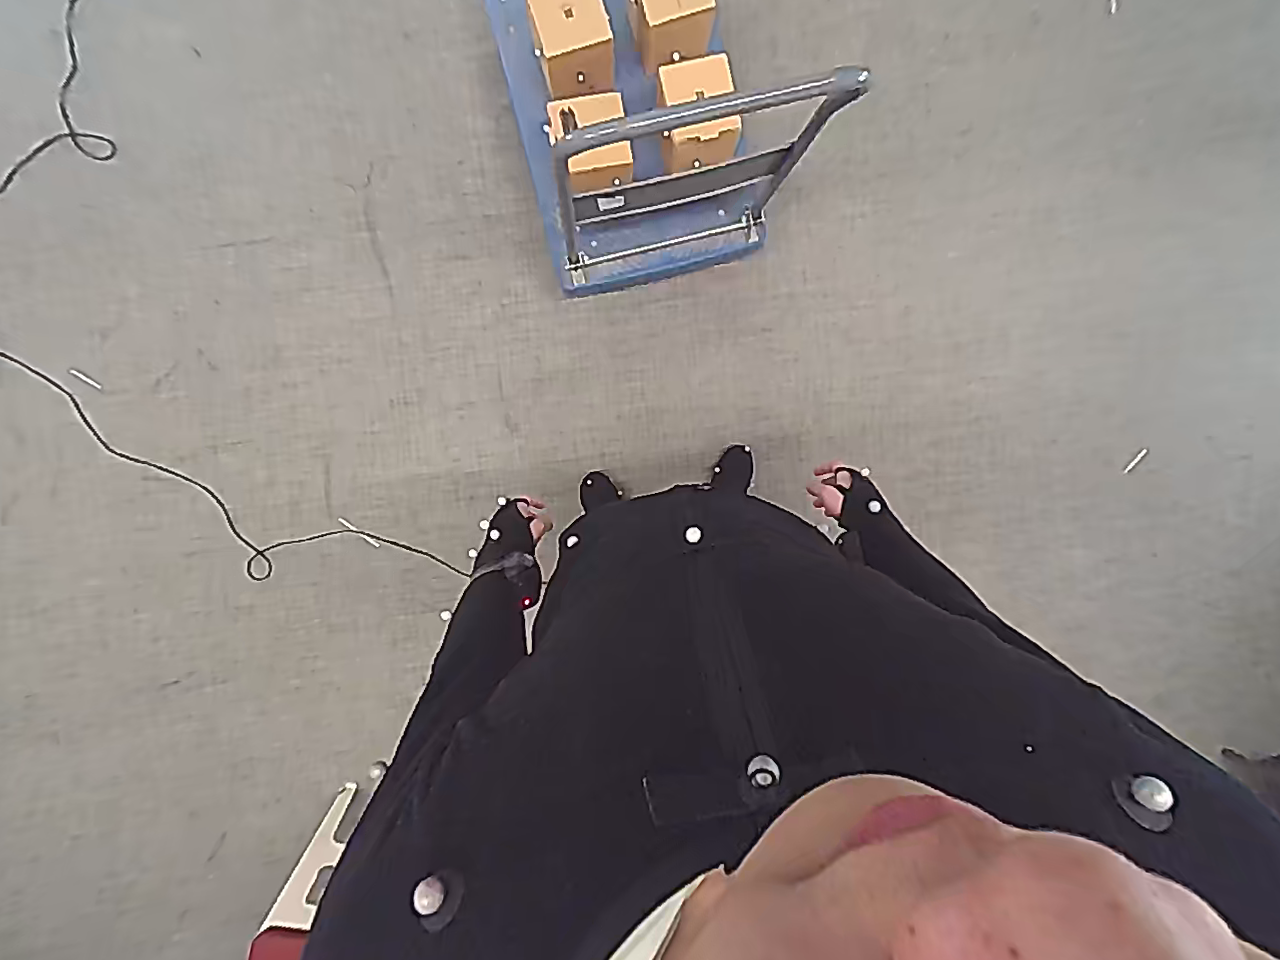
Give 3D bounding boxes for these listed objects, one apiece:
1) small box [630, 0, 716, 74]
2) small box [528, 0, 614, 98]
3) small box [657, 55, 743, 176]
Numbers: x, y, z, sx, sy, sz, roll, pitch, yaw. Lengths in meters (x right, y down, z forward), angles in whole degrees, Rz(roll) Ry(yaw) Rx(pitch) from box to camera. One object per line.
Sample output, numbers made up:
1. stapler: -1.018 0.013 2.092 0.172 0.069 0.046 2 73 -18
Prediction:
1. small box: 0.074 -1.167 1.339 0.168 0.176 0.179 -18 94 0
2. small box: -0.164 -1.087 1.334 0.168 0.176 0.179 -18 93 -2
3. small box: 0.143 -0.906 1.356 0.168 0.176 0.179 -14 94 -2
